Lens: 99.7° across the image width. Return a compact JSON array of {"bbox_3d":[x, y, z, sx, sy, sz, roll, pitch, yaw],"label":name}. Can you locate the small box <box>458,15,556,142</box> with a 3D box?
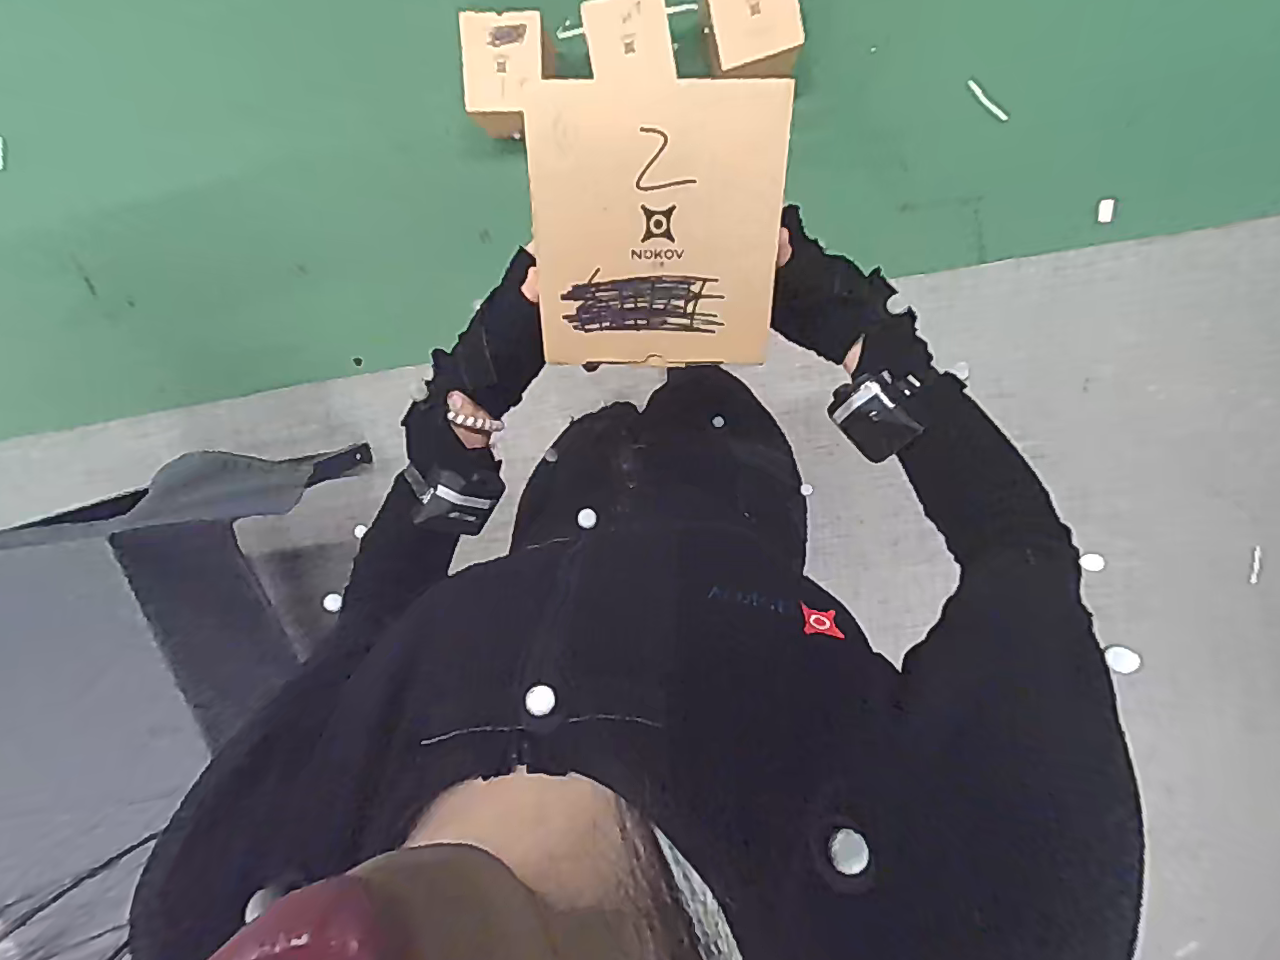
[{"bbox_3d":[-0.279,-0.858,1.167,0.168,0.176,0.179,2,107,3],"label":"small box"}]

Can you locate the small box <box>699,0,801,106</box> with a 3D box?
[{"bbox_3d":[0.220,-0.925,1.122,0.168,0.176,0.179,-13,104,7],"label":"small box"}]

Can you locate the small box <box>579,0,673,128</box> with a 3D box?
[{"bbox_3d":[-0.022,-0.877,1.147,0.168,0.176,0.179,-10,104,5],"label":"small box"}]
